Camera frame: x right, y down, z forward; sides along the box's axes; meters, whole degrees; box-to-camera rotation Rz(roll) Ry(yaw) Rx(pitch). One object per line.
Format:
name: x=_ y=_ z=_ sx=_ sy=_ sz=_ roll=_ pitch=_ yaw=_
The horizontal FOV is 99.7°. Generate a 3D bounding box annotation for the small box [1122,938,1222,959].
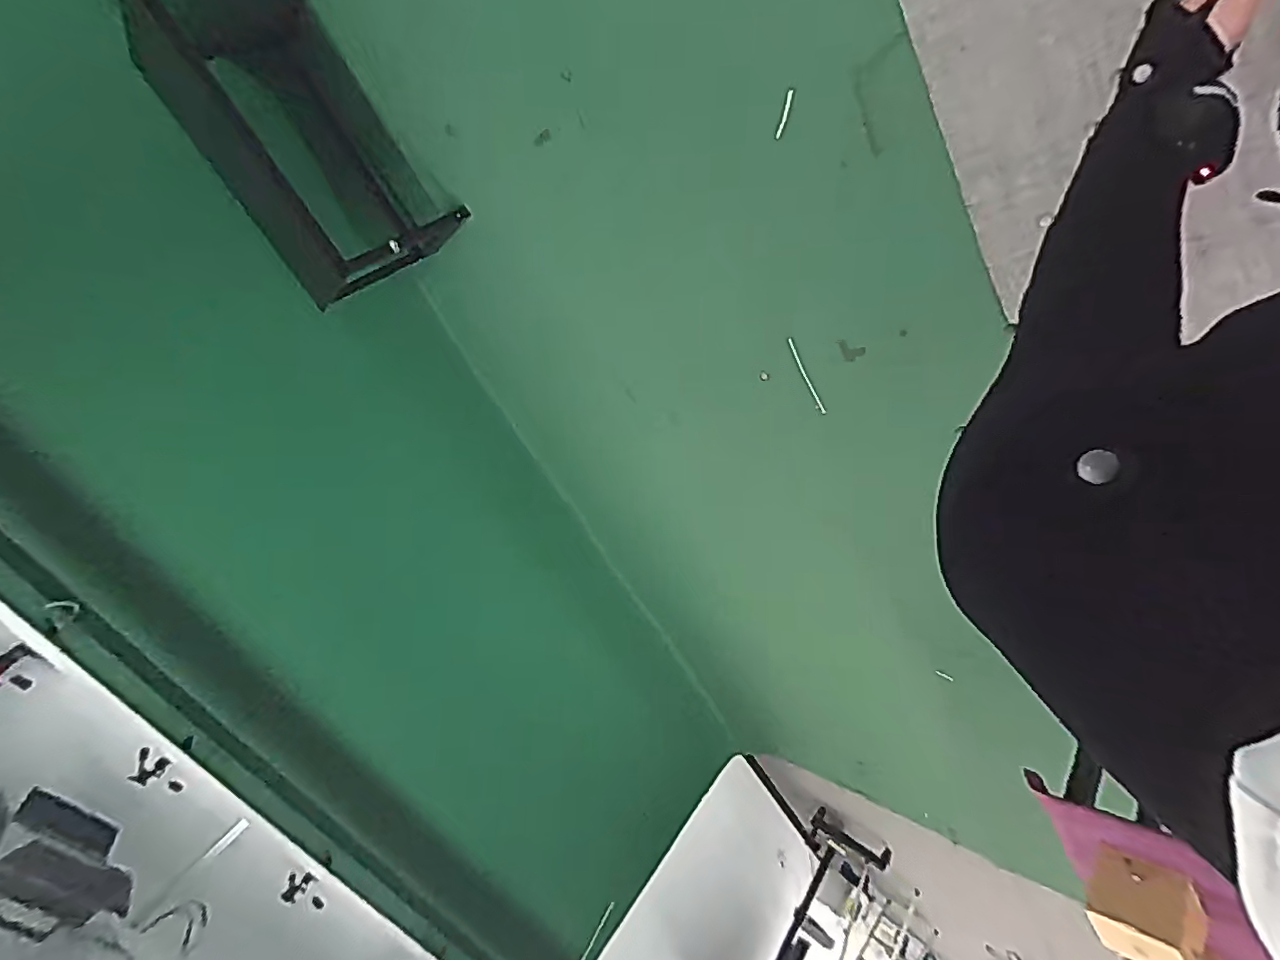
small box: x=1.348 y=1.247 z=1.365 sx=0.168 sy=0.176 sz=0.179 roll=-4 pitch=121 yaw=54

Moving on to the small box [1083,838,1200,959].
small box: x=1.180 y=0.997 z=1.270 sx=0.168 sy=0.176 sz=0.179 roll=-8 pitch=122 yaw=54
